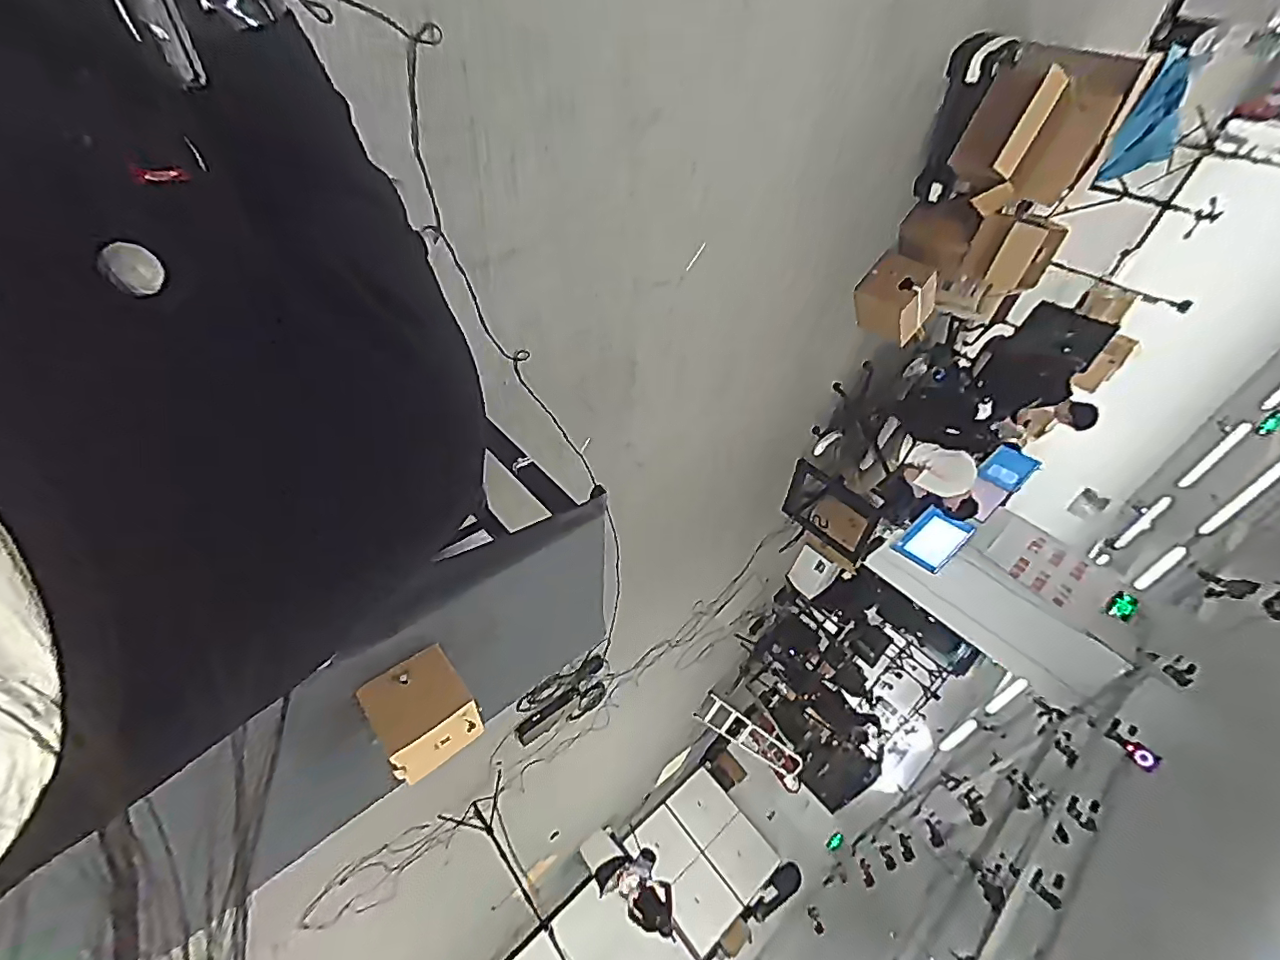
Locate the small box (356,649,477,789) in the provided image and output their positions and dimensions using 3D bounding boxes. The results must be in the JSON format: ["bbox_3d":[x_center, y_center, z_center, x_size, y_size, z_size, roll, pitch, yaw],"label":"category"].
[{"bbox_3d":[-0.469,0.493,1.129,0.179,0.176,0.168,-28,144,-30],"label":"small box"}]
